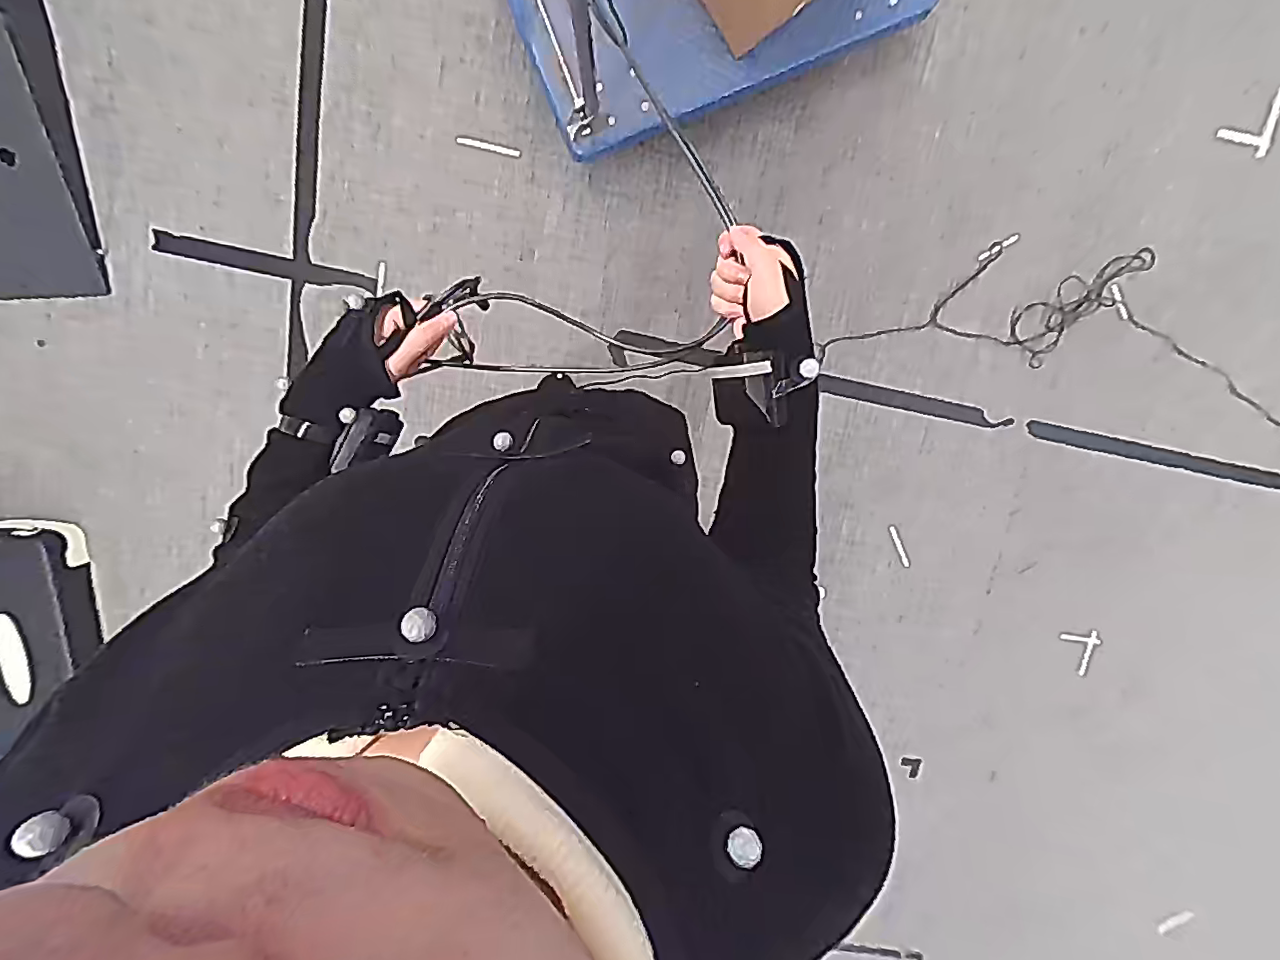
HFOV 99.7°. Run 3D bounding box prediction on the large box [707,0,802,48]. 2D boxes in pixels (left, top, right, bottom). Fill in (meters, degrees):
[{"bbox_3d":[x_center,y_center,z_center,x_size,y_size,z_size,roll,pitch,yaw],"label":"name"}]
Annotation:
[{"bbox_3d":[0.221,-1.124,0.956,0.320,0.320,0.408,-37,103,4],"label":"large box"}]
